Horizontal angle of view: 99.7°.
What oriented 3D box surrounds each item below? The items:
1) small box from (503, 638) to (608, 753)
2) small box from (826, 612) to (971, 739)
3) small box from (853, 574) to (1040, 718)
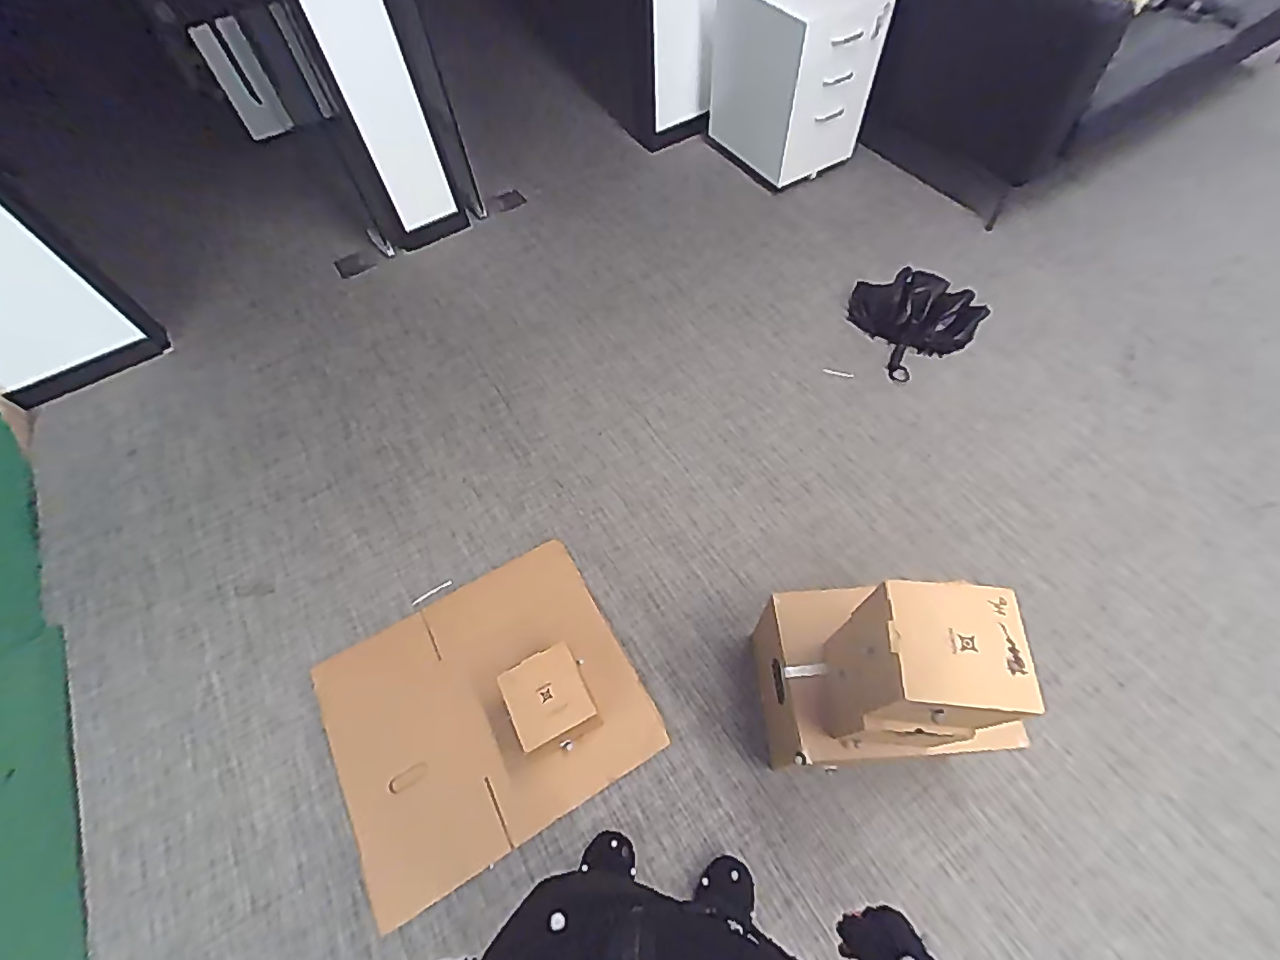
[{"bbox_3d":[-0.185,0.490,1.221,0.168,0.176,0.179,-27,62,-11],"label":"small box"},{"bbox_3d":[0.429,0.340,0.930,0.168,0.176,0.179,2,59,4],"label":"small box"},{"bbox_3d":[0.428,0.249,0.797,0.179,0.176,0.168,1,58,3],"label":"small box"}]
